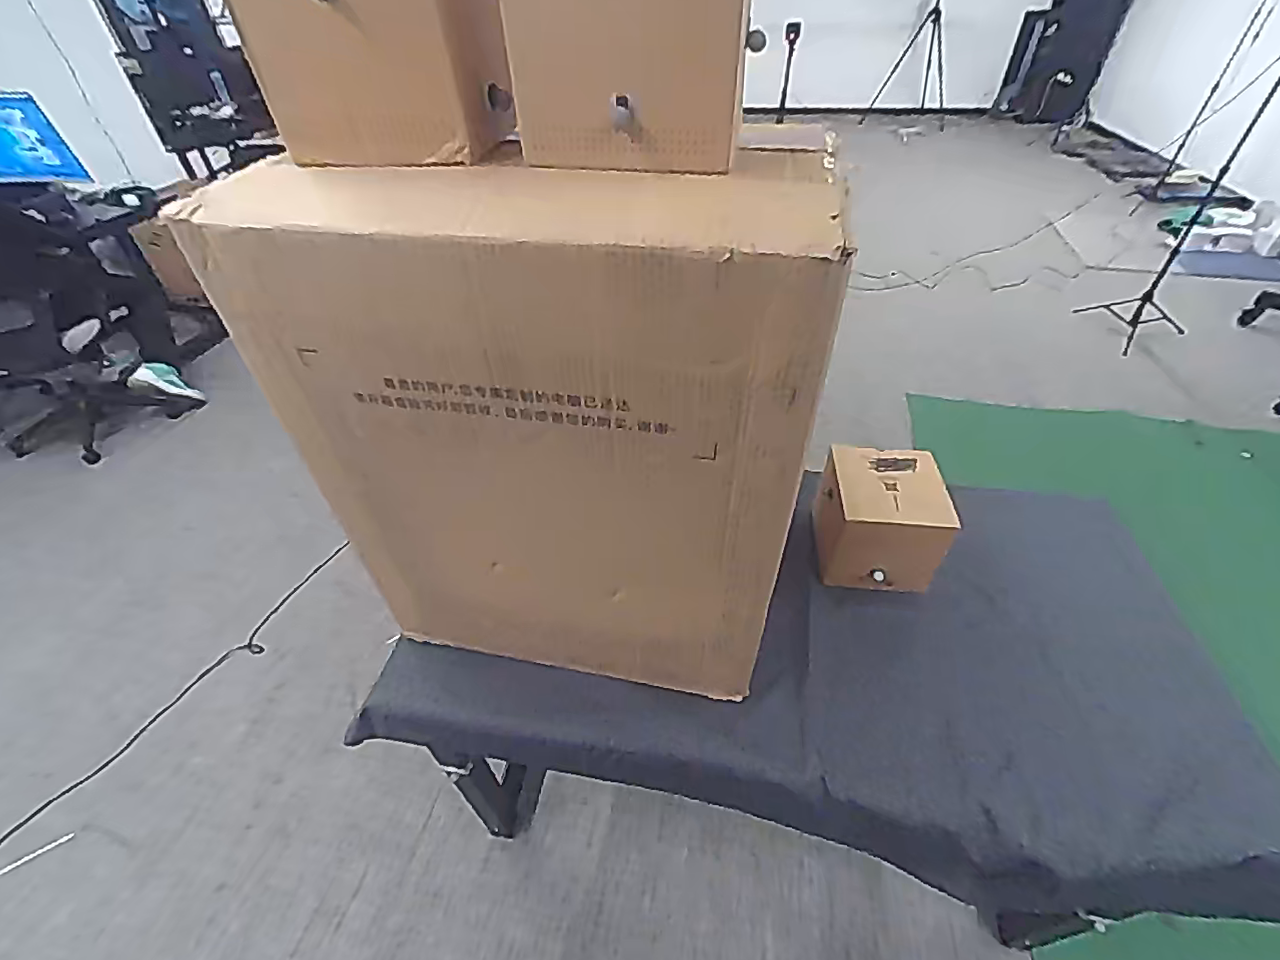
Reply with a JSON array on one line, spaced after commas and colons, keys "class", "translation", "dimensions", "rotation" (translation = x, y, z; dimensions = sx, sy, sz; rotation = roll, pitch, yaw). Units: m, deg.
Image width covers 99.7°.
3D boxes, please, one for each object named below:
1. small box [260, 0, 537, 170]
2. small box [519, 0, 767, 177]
[{"class": "small box", "translation": [-0.207, -0.394, 0.486], "dimensions": [0.179, 0.176, 0.168], "rotation": [5, 46, 7]}, {"class": "small box", "translation": [0.012, -0.369, 0.453], "dimensions": [0.179, 0.176, 0.168], "rotation": [8, 45, 8]}]
